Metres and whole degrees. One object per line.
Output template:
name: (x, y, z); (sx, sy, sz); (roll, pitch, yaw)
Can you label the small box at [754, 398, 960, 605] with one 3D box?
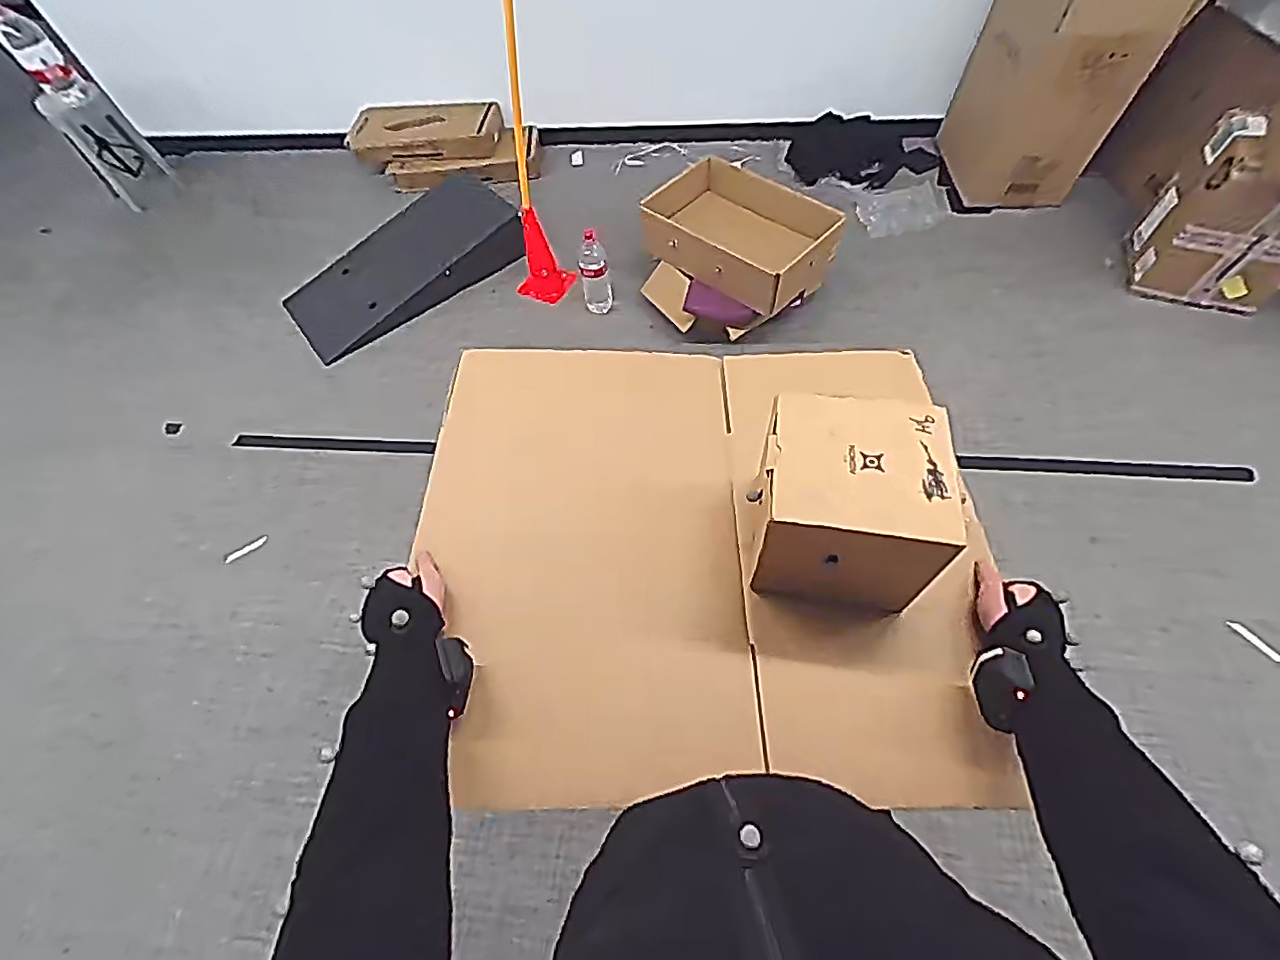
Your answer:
small box: (0.226, 0.029, 0.610); (0.179, 0.176, 0.168); (6, 58, 9)
